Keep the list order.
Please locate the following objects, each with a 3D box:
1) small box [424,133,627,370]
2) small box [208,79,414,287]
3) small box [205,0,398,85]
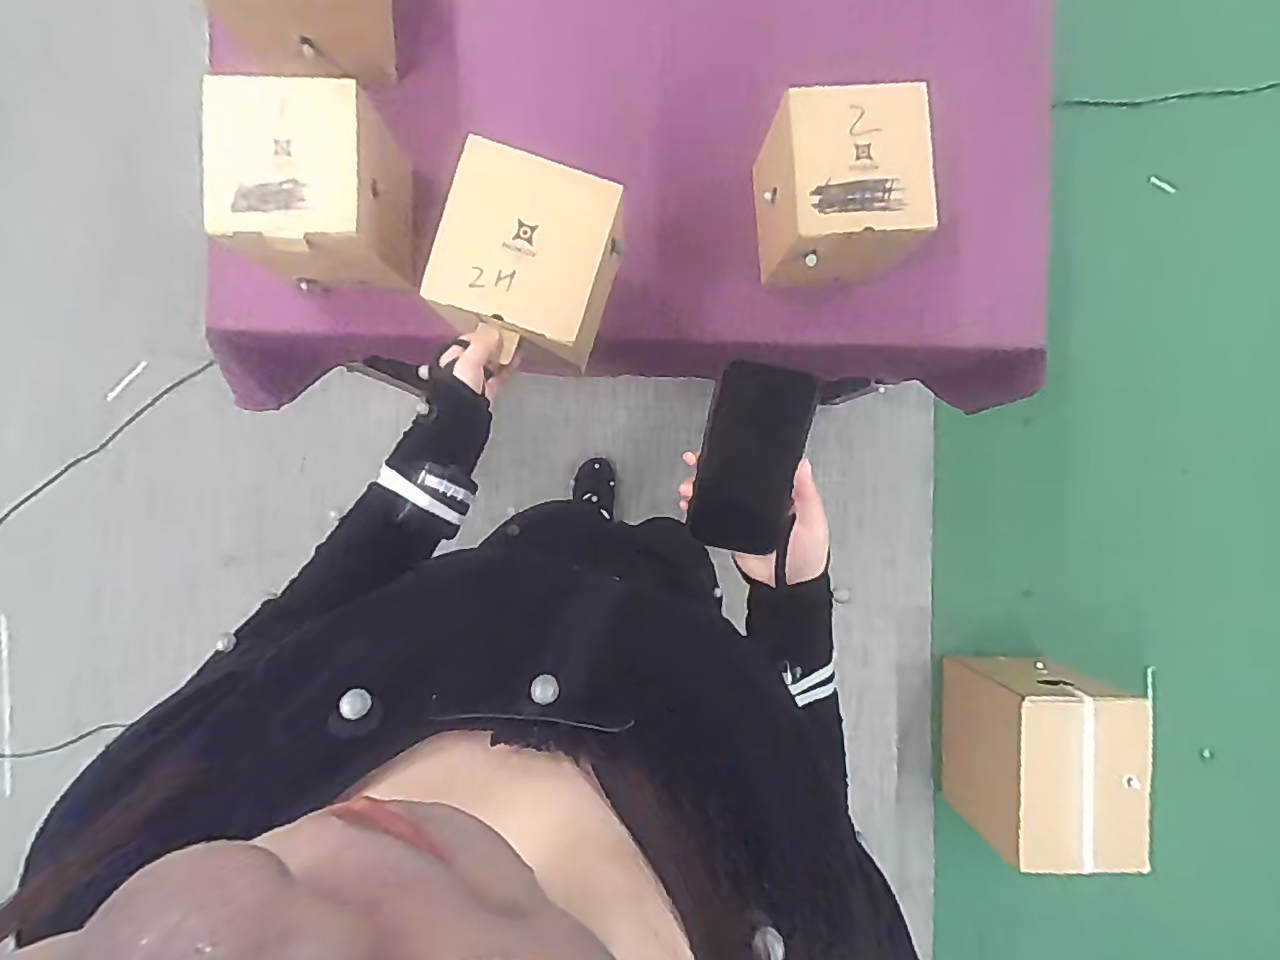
[{"bbox_3d":[-0.121,-0.248,0.632,0.168,0.176,0.179,18,90,-2],"label":"small box"},{"bbox_3d":[-0.395,-0.354,0.677,0.168,0.176,0.179,0,89,-3],"label":"small box"},{"bbox_3d":[-0.418,-0.633,0.676,0.168,0.176,0.179,-4,91,-3],"label":"small box"}]
